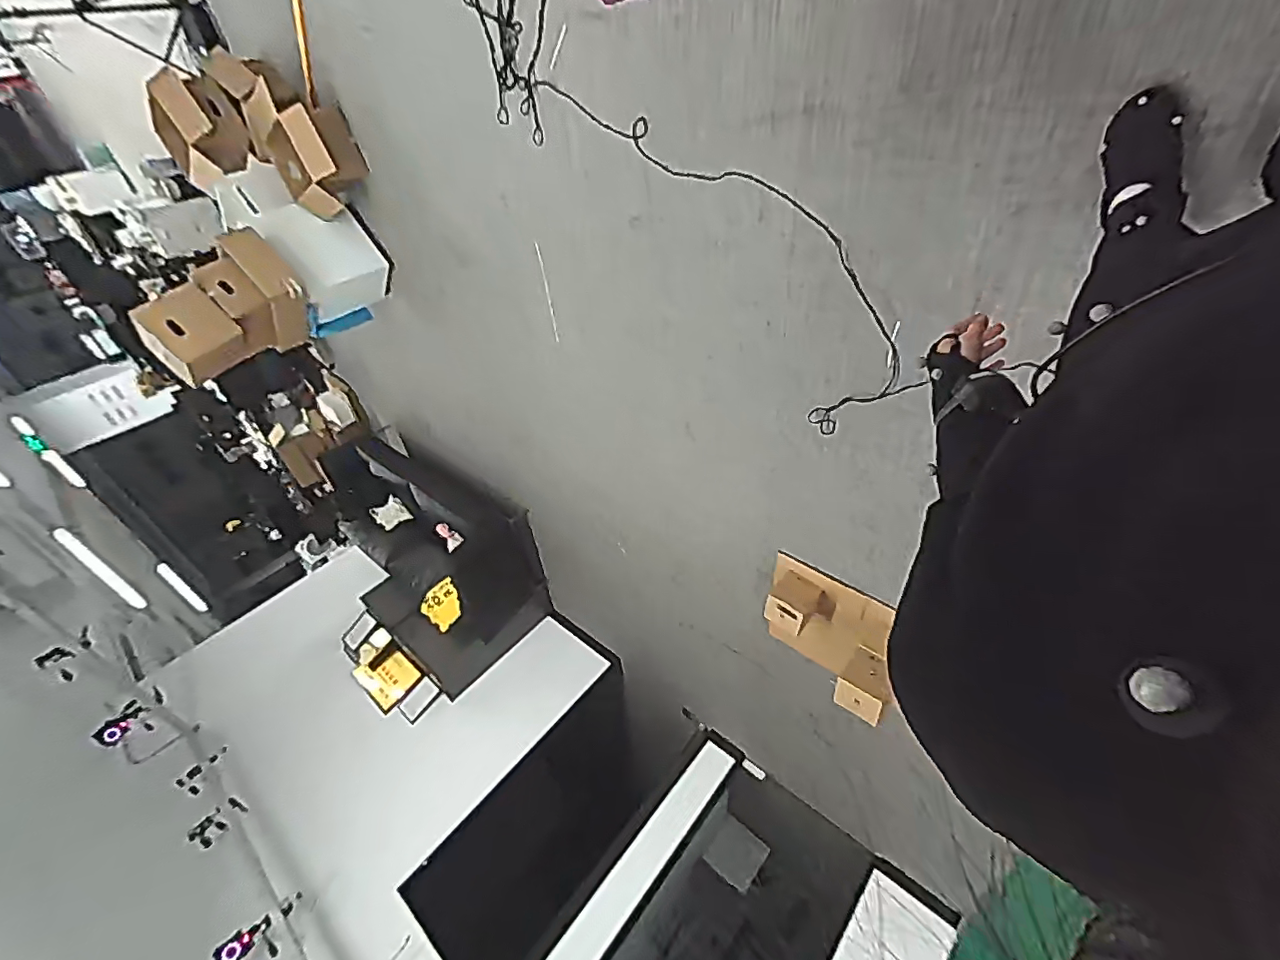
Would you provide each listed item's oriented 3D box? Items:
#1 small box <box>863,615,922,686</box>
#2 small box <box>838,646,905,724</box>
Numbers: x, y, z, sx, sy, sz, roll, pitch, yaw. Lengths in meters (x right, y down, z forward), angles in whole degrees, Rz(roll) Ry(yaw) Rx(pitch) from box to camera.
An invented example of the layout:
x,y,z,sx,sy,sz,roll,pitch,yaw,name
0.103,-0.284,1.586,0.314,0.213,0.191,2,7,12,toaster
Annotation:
x,y,z,sx,sy,sz,roll,pitch,yaw,name
0.963,0.657,2.082,0.168,0.176,0.179,25,141,35,small box
0.857,0.751,1.998,0.168,0.176,0.179,26,141,35,small box
